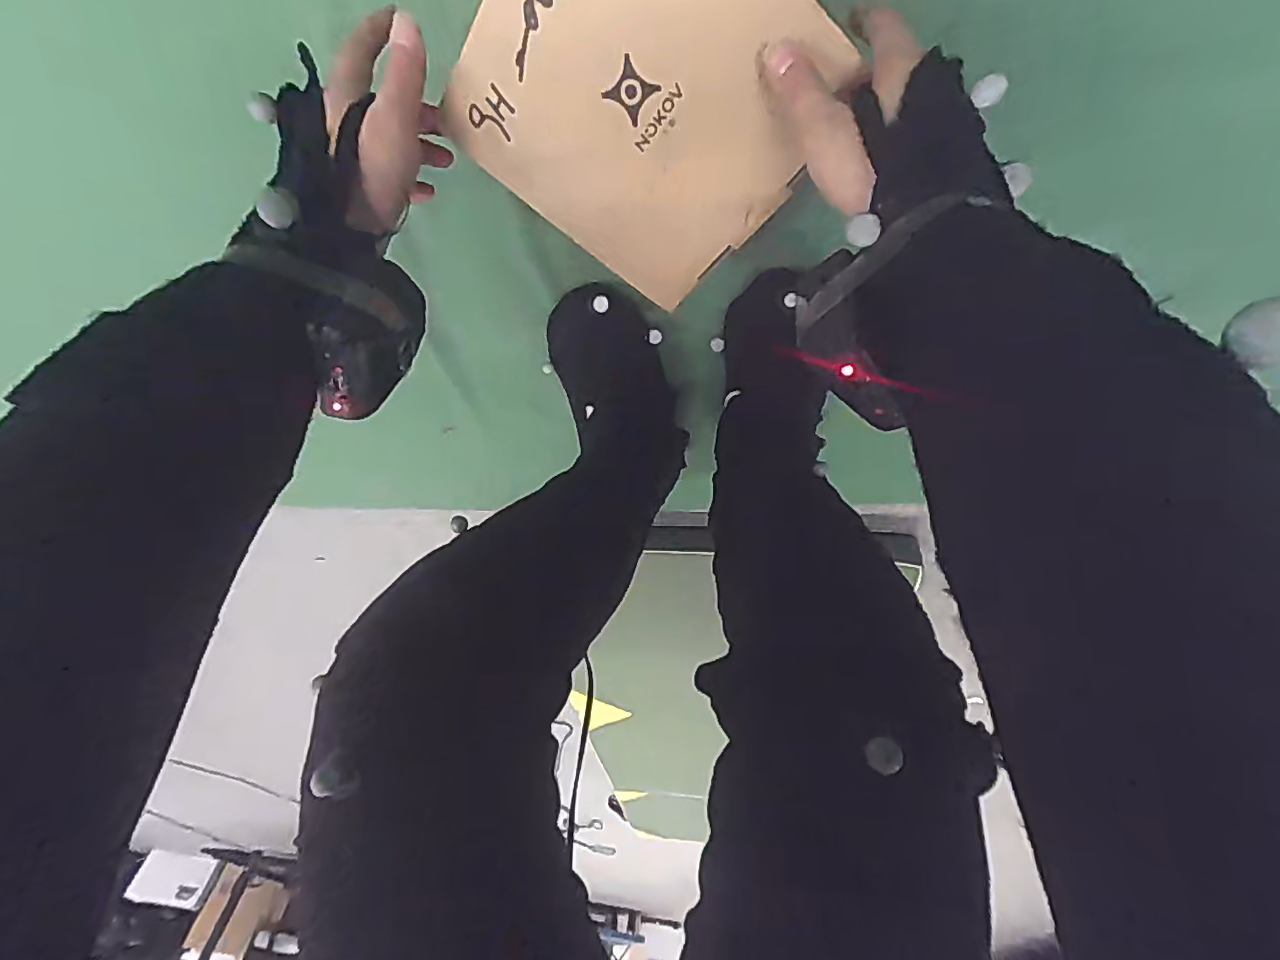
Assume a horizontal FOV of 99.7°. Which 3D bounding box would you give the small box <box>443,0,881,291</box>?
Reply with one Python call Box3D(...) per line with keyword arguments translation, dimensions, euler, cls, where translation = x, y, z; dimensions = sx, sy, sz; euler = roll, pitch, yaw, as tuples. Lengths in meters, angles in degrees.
Box3D(translation=(0.016, -0.265, 0.337), dimensions=(0.179, 0.176, 0.168), euler=(32, 133, -24), cls="small box")
